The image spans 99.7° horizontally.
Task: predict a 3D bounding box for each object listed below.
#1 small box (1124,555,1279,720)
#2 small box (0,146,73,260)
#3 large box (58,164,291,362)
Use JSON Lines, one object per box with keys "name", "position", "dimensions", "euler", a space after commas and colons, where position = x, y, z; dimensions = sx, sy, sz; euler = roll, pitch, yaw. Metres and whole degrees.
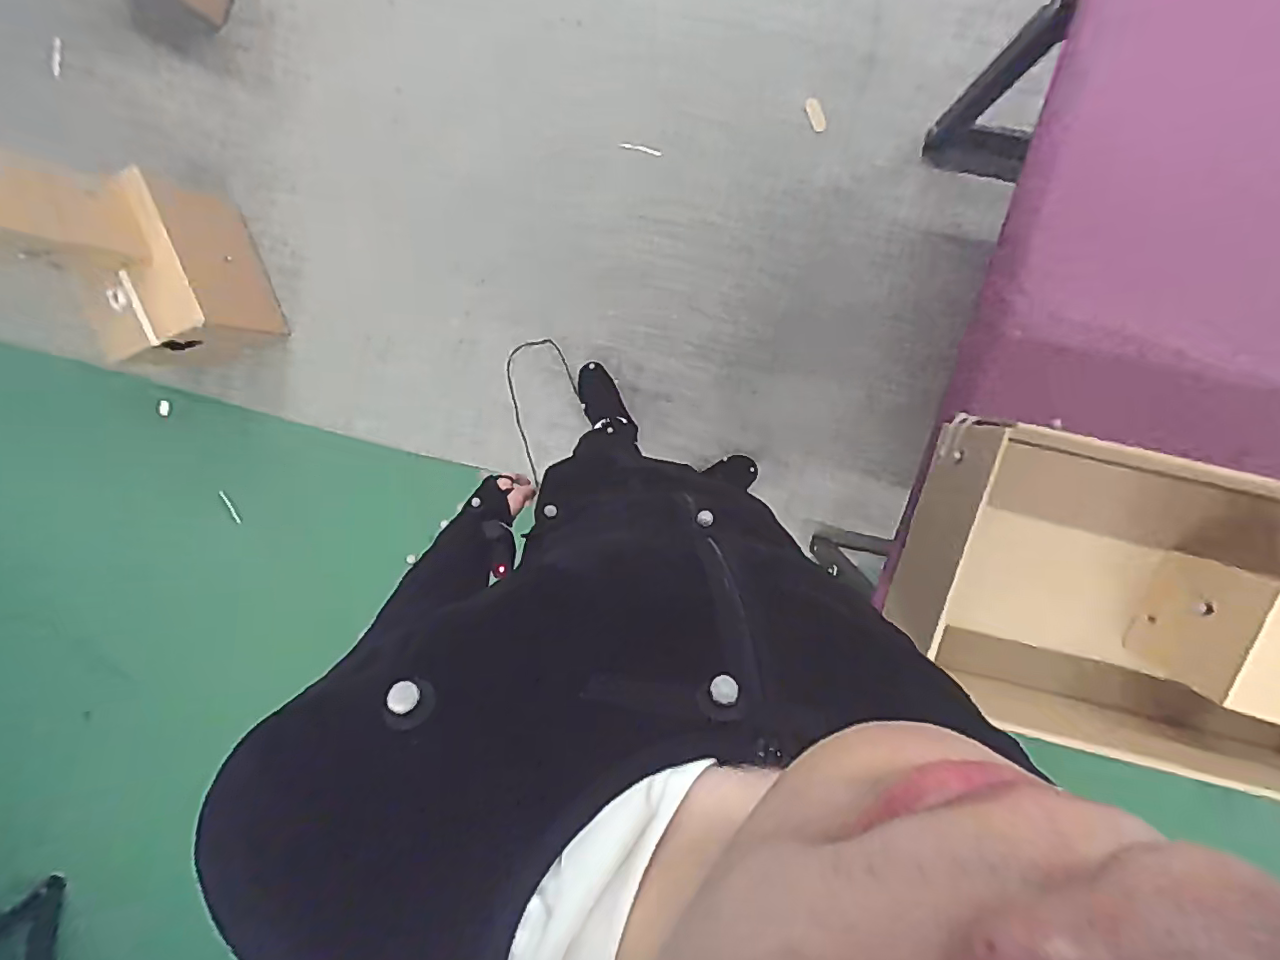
{"name": "small box", "position": [0.829, 0.213, 0.734], "dimensions": [0.179, 0.176, 0.168], "euler": [16, 99, 3]}
{"name": "small box", "position": [-1.337, -0.573, 1.099], "dimensions": [0.168, 0.176, 0.179], "euler": [-14, 99, 8]}
{"name": "large box", "position": [-1.292, -0.573, 1.514], "dimensions": [0.320, 0.320, 0.408], "euler": [-18, 99, 9]}
